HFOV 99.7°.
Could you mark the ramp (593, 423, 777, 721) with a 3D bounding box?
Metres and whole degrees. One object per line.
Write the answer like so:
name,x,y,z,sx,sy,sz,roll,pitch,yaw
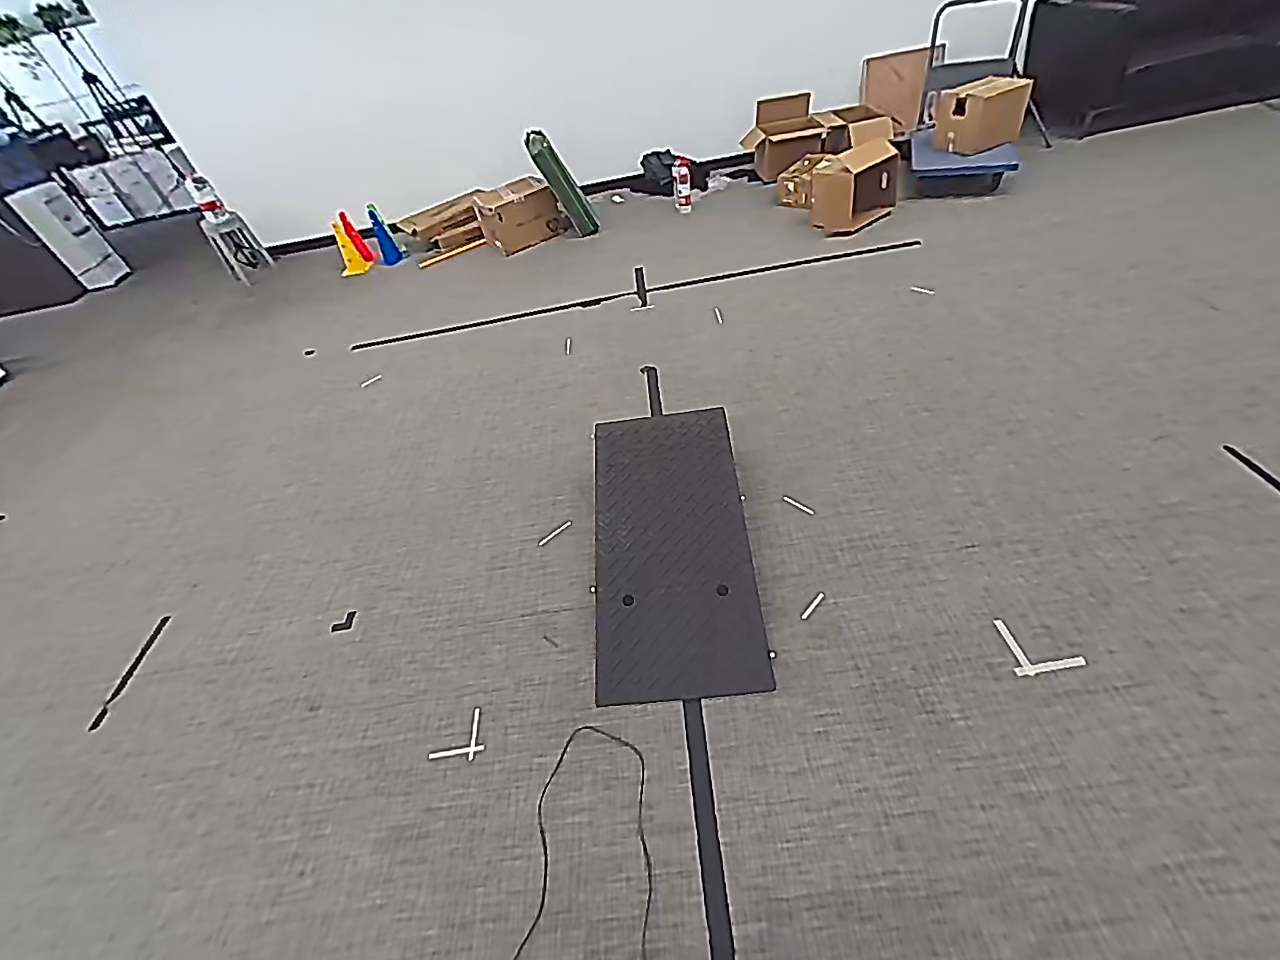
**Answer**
ramp,0.098,0.225,1.754,0.509,0.206,0.991,-9,44,3
